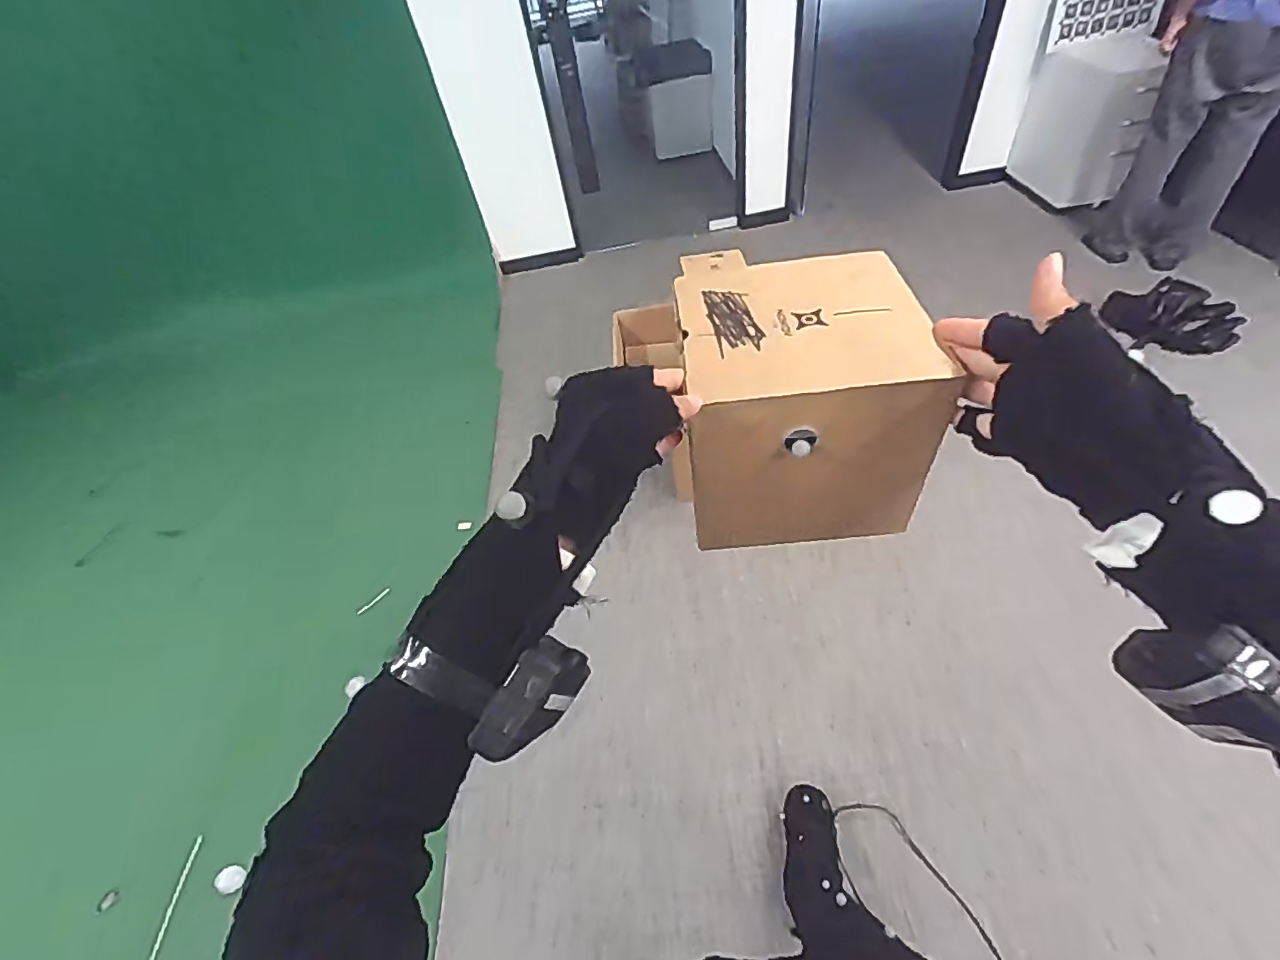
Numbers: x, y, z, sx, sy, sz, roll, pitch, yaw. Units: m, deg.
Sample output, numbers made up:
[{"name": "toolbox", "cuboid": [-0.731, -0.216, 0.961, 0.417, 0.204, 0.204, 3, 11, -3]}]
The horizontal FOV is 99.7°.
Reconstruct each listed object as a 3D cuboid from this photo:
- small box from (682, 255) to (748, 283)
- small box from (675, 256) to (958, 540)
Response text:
[{"name": "small box", "cuboid": [0.209, -0.481, 1.470, 0.168, 0.176, 0.179, -6, 48, 2]}, {"name": "small box", "cuboid": [0.128, -0.063, 0.461, 0.179, 0.176, 0.168, -6, 48, 5]}]
